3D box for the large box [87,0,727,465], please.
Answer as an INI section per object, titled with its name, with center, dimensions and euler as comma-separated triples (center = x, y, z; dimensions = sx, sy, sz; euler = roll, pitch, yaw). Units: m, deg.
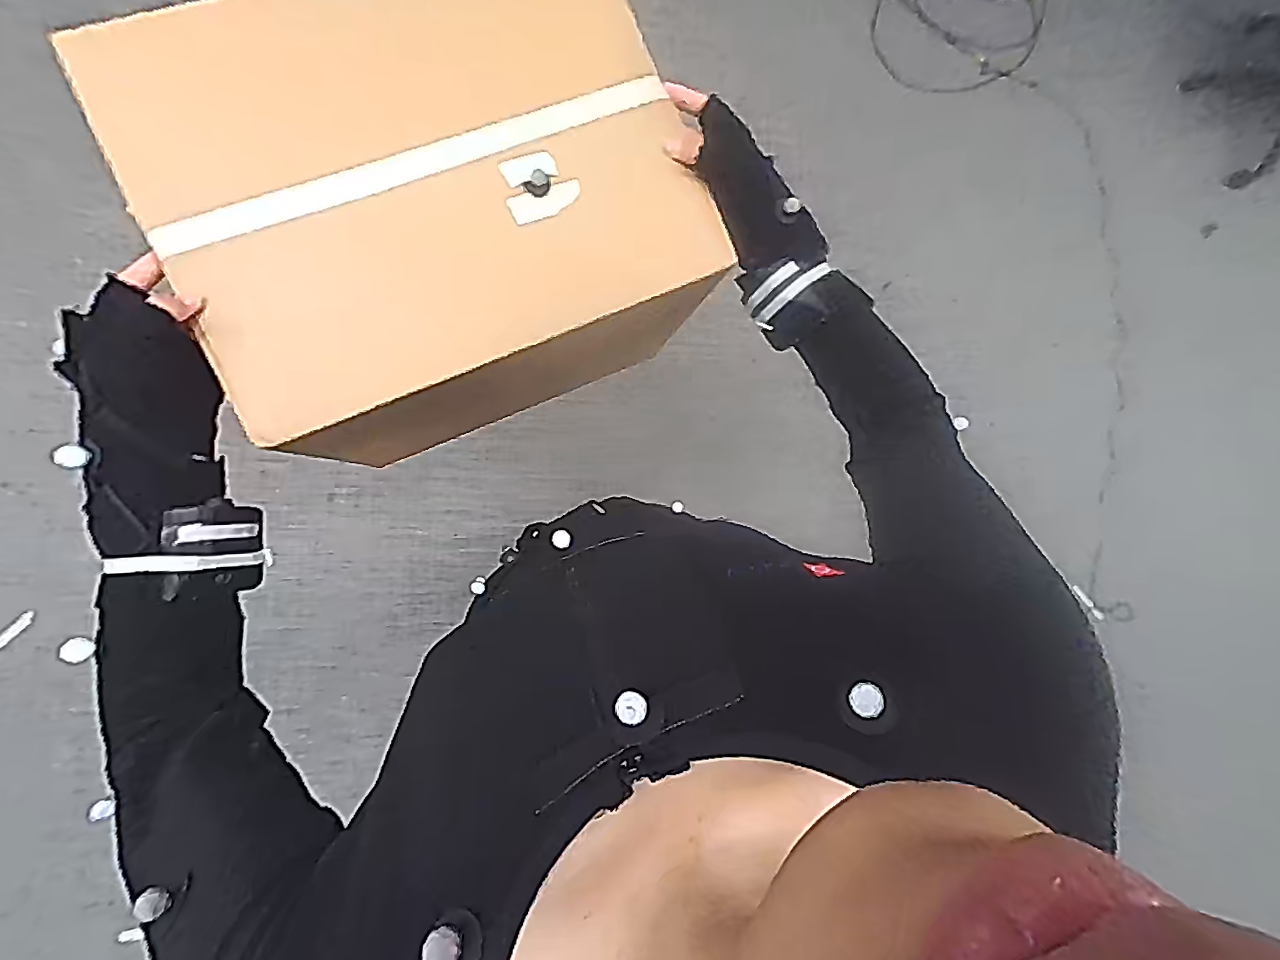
[large box]
center = -0.189, -0.245, 0.575
dimensions = 0.408, 0.320, 0.320
euler = -26, 94, -12
